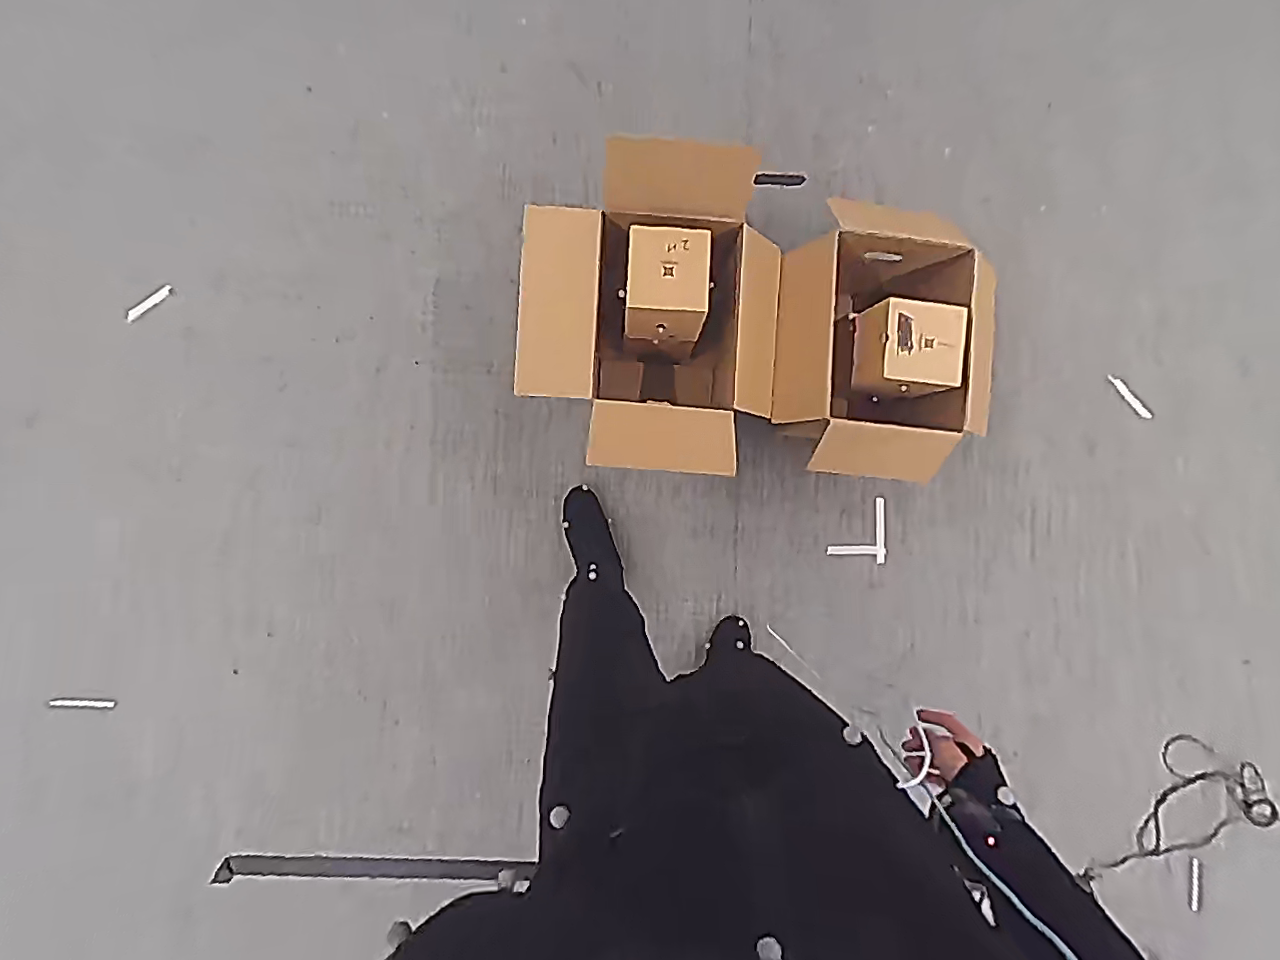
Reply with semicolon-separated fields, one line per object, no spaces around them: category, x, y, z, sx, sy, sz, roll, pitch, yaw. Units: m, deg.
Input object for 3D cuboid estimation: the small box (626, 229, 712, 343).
small box;0.057;-0.404;1.154;0.168;0.176;0.179;3;84;-2
